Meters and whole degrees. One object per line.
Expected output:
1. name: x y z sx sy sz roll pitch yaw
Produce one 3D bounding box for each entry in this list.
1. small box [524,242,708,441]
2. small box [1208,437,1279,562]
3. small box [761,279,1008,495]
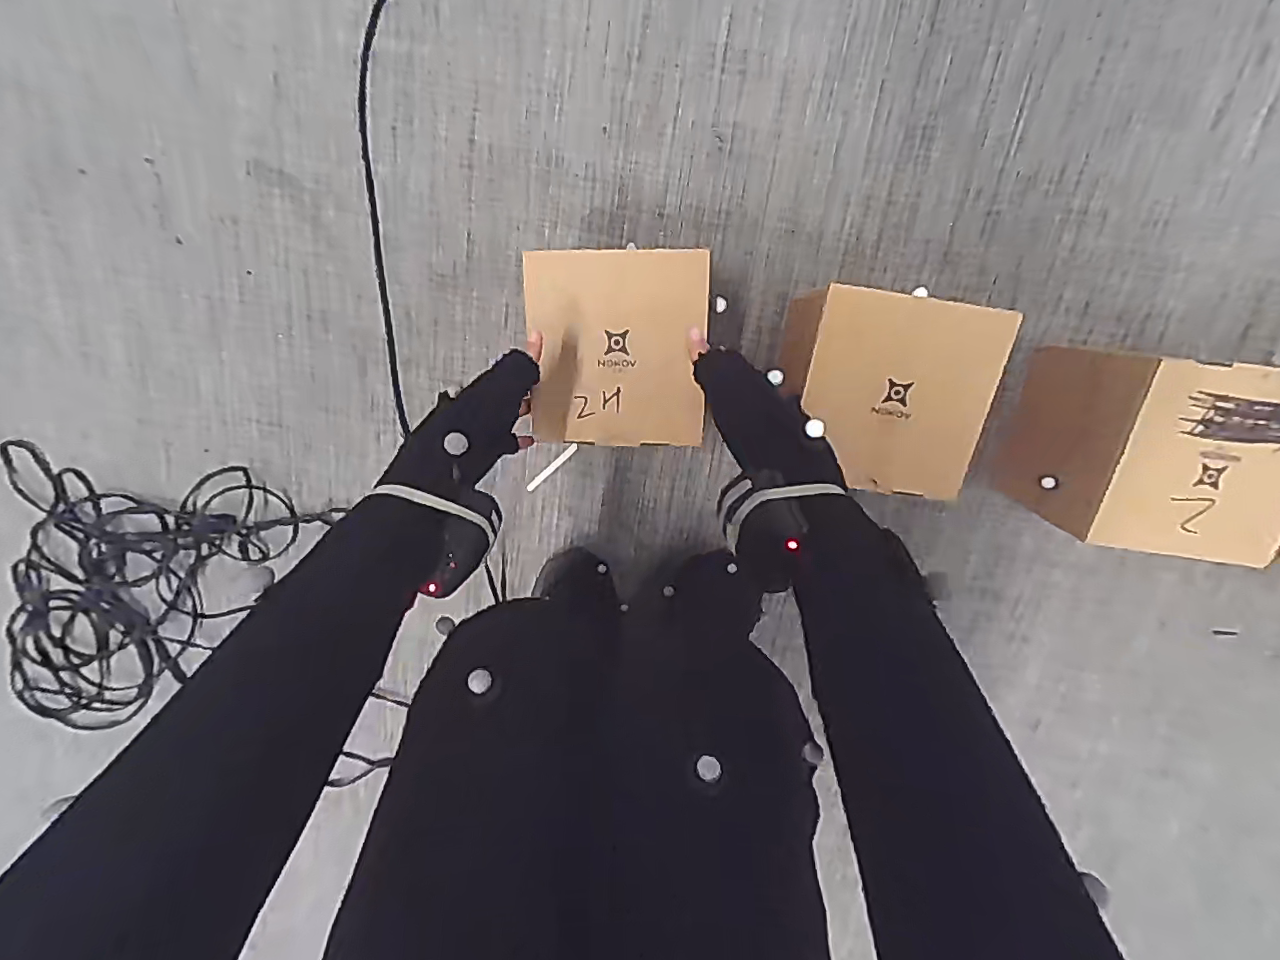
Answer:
1. small box: -0.018 -0.146 0.572 0.168 0.176 0.179 2 107 5
2. small box: 0.783 0.040 0.563 0.179 0.176 0.168 23 108 -4
3. small box: 0.231 -0.103 0.567 0.168 0.176 0.179 9 108 2
